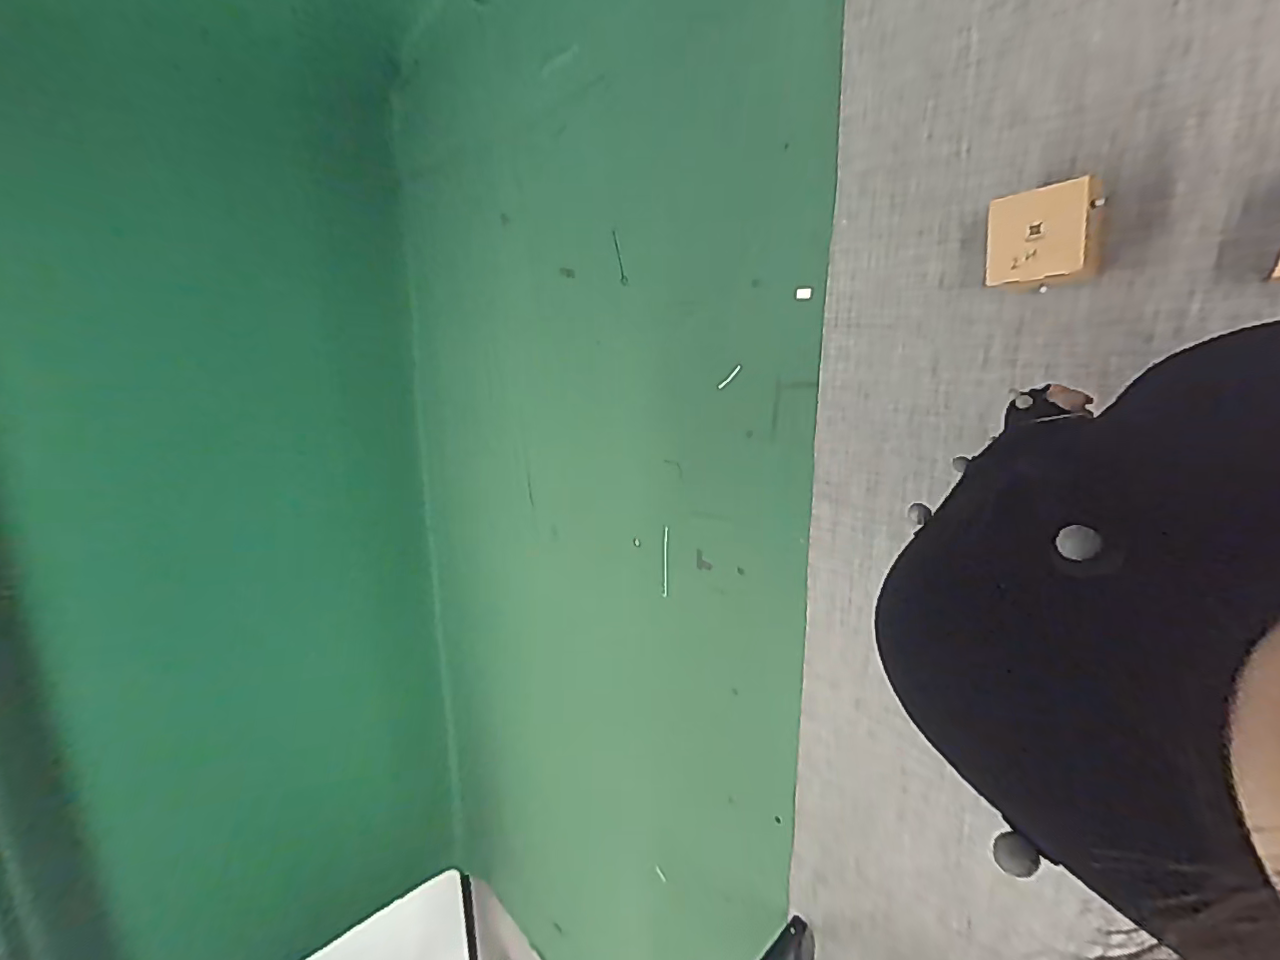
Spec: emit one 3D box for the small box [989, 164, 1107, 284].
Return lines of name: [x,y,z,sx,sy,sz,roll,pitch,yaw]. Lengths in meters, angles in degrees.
small box: [0.850,-0.519,1.125,0.168,0.176,0.179,7,104,47]
